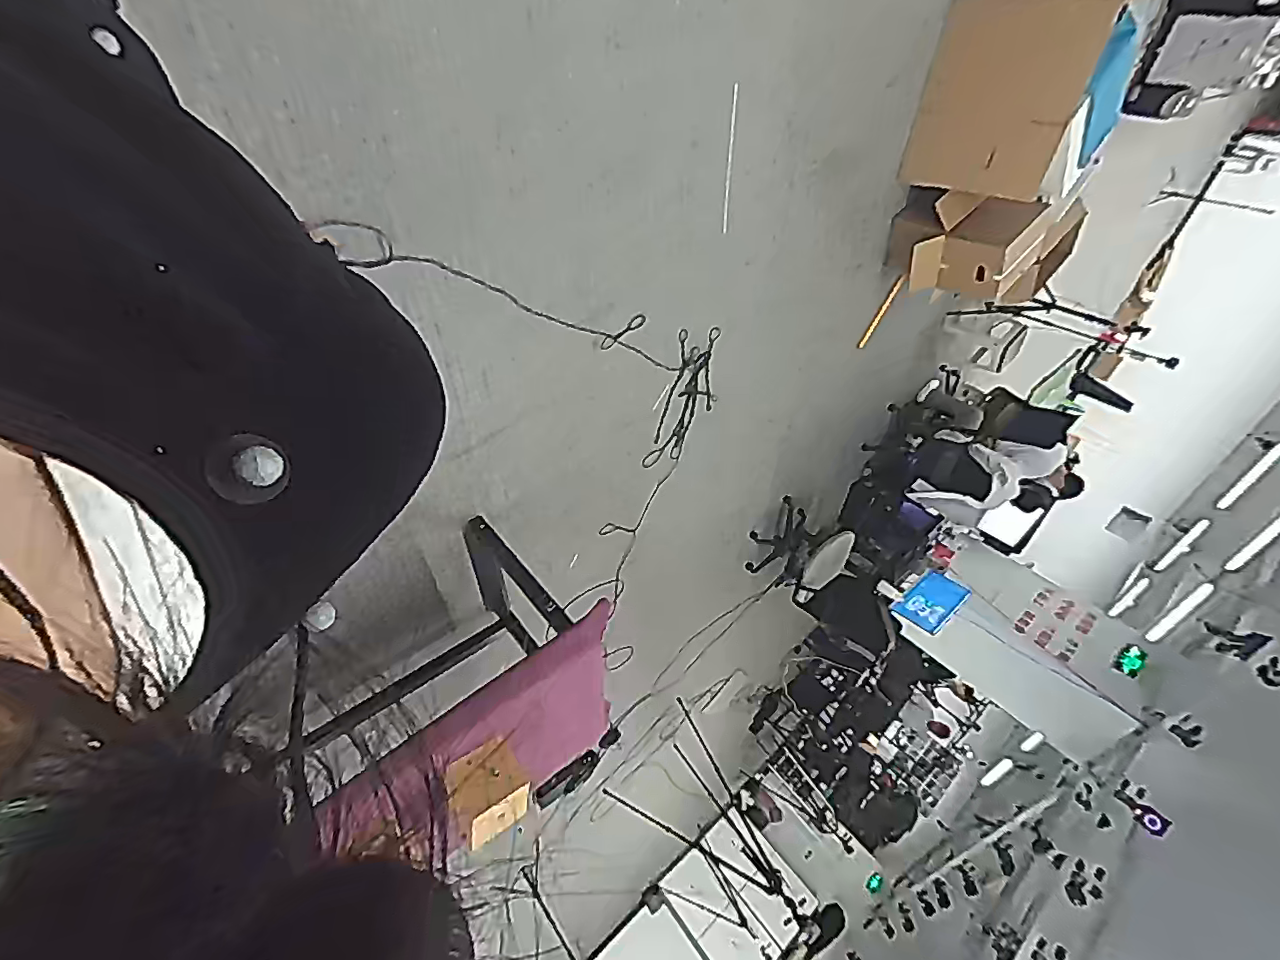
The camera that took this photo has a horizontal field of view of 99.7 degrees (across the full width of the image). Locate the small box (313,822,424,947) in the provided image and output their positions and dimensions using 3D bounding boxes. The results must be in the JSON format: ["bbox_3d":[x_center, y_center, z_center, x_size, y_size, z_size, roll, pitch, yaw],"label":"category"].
[{"bbox_3d":[-0.661,0.981,1.321,0.168,0.176,0.179,-32,141,-27],"label":"small box"}]

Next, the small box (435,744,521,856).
[{"bbox_3d":[-0.443,0.853,1.463,0.168,0.176,0.179,-19,135,-40],"label":"small box"}]
